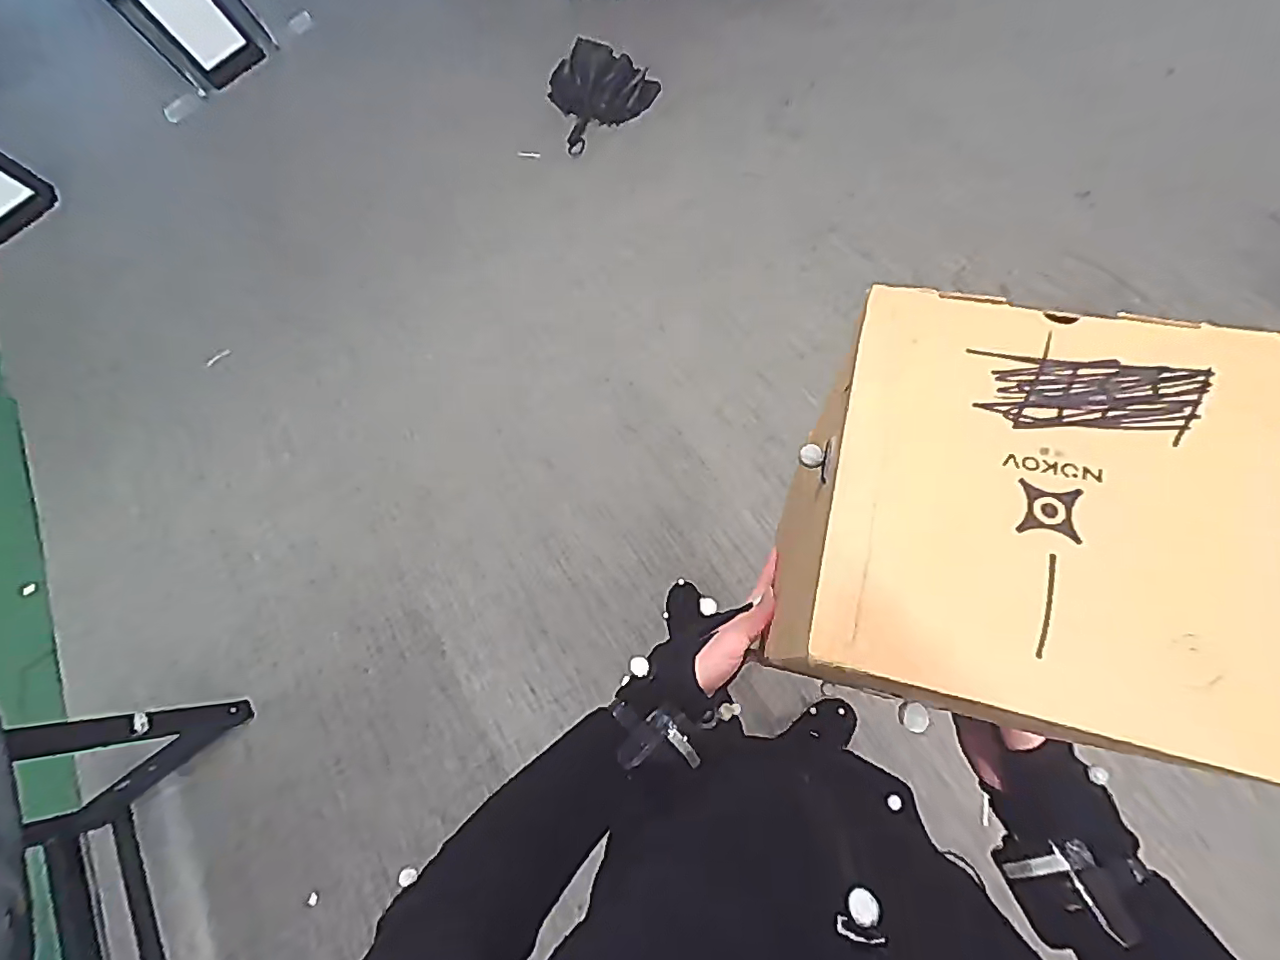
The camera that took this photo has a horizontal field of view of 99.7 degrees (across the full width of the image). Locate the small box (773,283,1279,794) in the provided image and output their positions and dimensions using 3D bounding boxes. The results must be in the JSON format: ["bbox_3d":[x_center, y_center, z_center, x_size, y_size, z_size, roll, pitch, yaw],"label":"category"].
[{"bbox_3d":[0.172,0.029,0.288,0.168,0.176,0.179,12,75,13],"label":"small box"}]

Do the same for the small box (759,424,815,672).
[{"bbox_3d":[0.194,0.077,0.443,0.168,0.176,0.179,10,72,12],"label":"small box"}]
